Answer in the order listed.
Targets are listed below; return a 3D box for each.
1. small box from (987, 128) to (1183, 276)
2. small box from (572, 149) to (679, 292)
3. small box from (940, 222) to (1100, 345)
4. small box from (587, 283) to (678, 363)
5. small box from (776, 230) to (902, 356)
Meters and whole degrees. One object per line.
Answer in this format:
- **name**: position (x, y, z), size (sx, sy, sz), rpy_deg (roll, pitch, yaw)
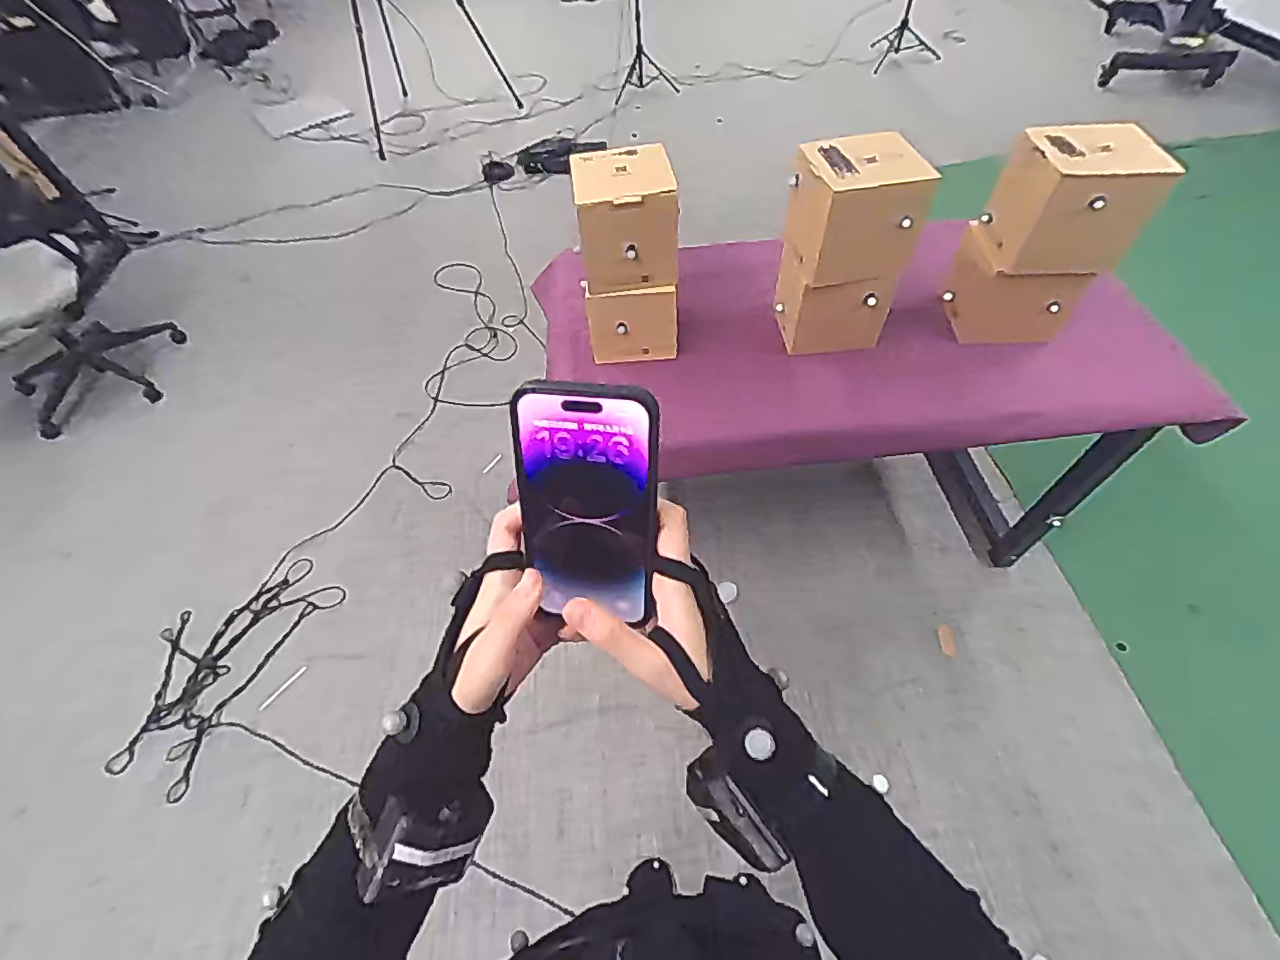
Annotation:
- **small box**: position (0.717, -0.460, 0.905), size (0.179, 0.176, 0.168), rpy_deg (1, 54, 5)
- **small box**: position (-0.023, -0.452, 0.961), size (0.168, 0.176, 0.179), rpy_deg (-8, 55, -2)
- **small box**: position (0.719, -0.376, 1.047), size (0.179, 0.176, 0.168), rpy_deg (1, 54, 6)
- **small box**: position (-0.011, -0.350, 1.090), size (0.168, 0.176, 0.179), rpy_deg (-4, 54, 2)
- **small box**: position (0.379, -0.363, 1.064), size (0.179, 0.176, 0.168), rpy_deg (-4, 54, 2)
